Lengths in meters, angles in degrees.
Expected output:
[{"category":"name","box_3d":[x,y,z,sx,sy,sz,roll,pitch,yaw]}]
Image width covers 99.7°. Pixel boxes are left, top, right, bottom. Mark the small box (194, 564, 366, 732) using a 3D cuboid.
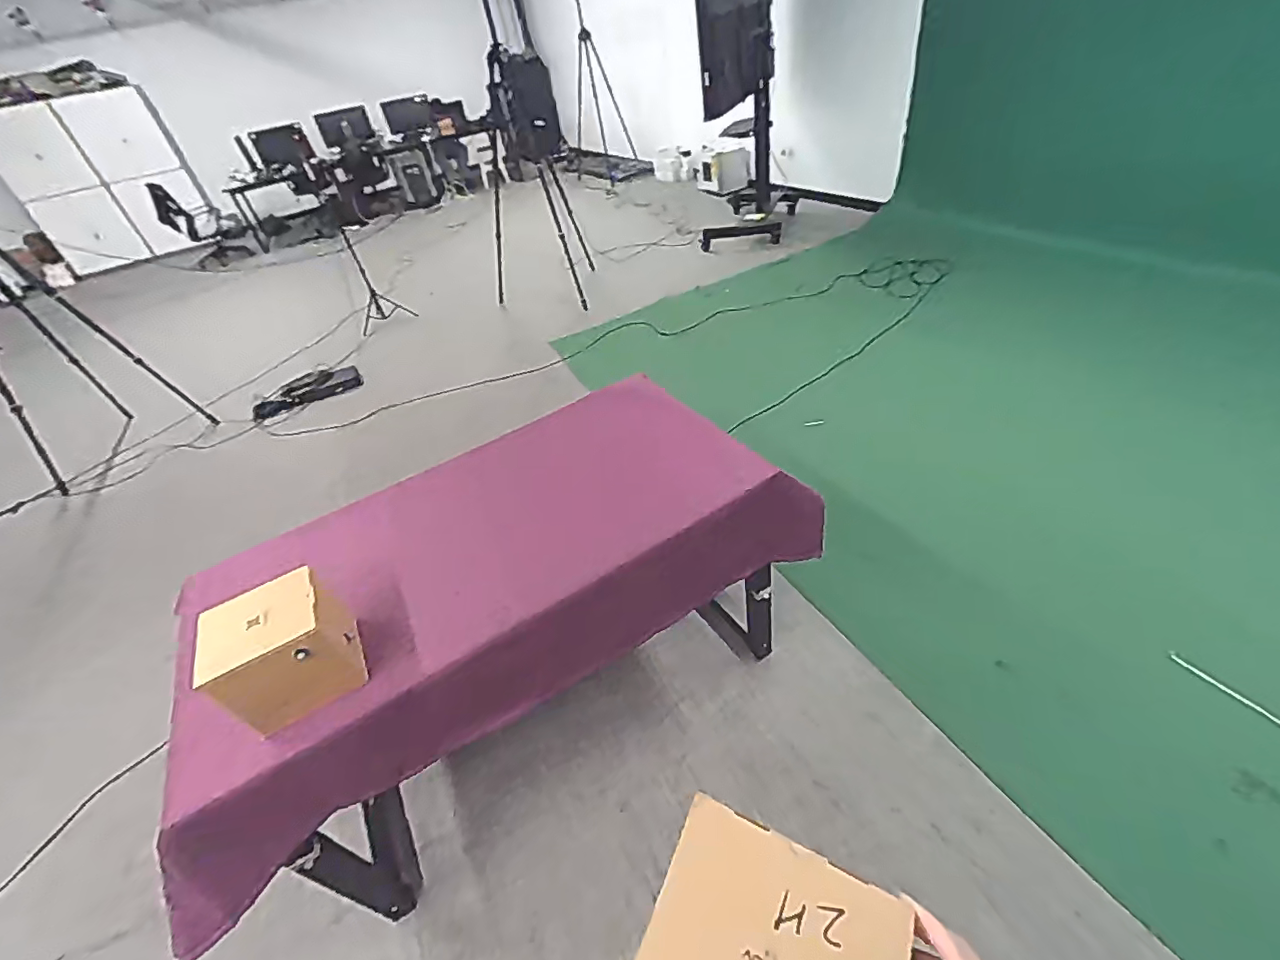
[{"category":"small box","box_3d":[-0.596,0.282,0.909,0.179,0.176,0.168,-27,42,-19]}]
